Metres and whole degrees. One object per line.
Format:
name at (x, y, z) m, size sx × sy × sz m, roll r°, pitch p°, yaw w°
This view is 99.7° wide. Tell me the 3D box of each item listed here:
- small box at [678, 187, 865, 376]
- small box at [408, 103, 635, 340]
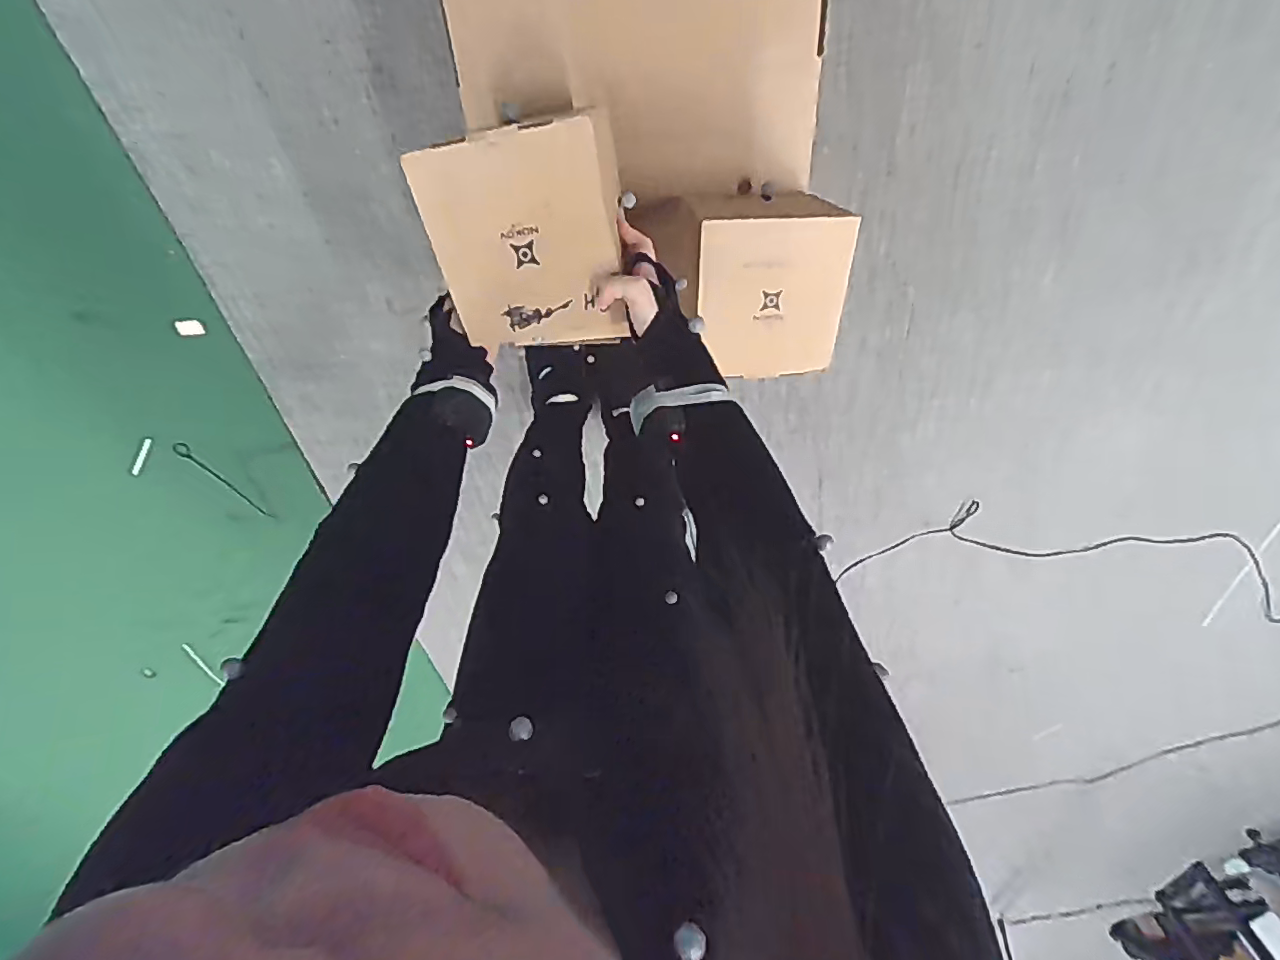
small box at (0.140, -0.242, 0.649) m, size 0.168 × 0.176 × 0.179 m, roll -3°, pitch 126°, yaw -3°
small box at (-0.099, -0.265, 0.549) m, size 0.168 × 0.176 × 0.179 m, roll -7°, pitch 126°, yaw 7°
